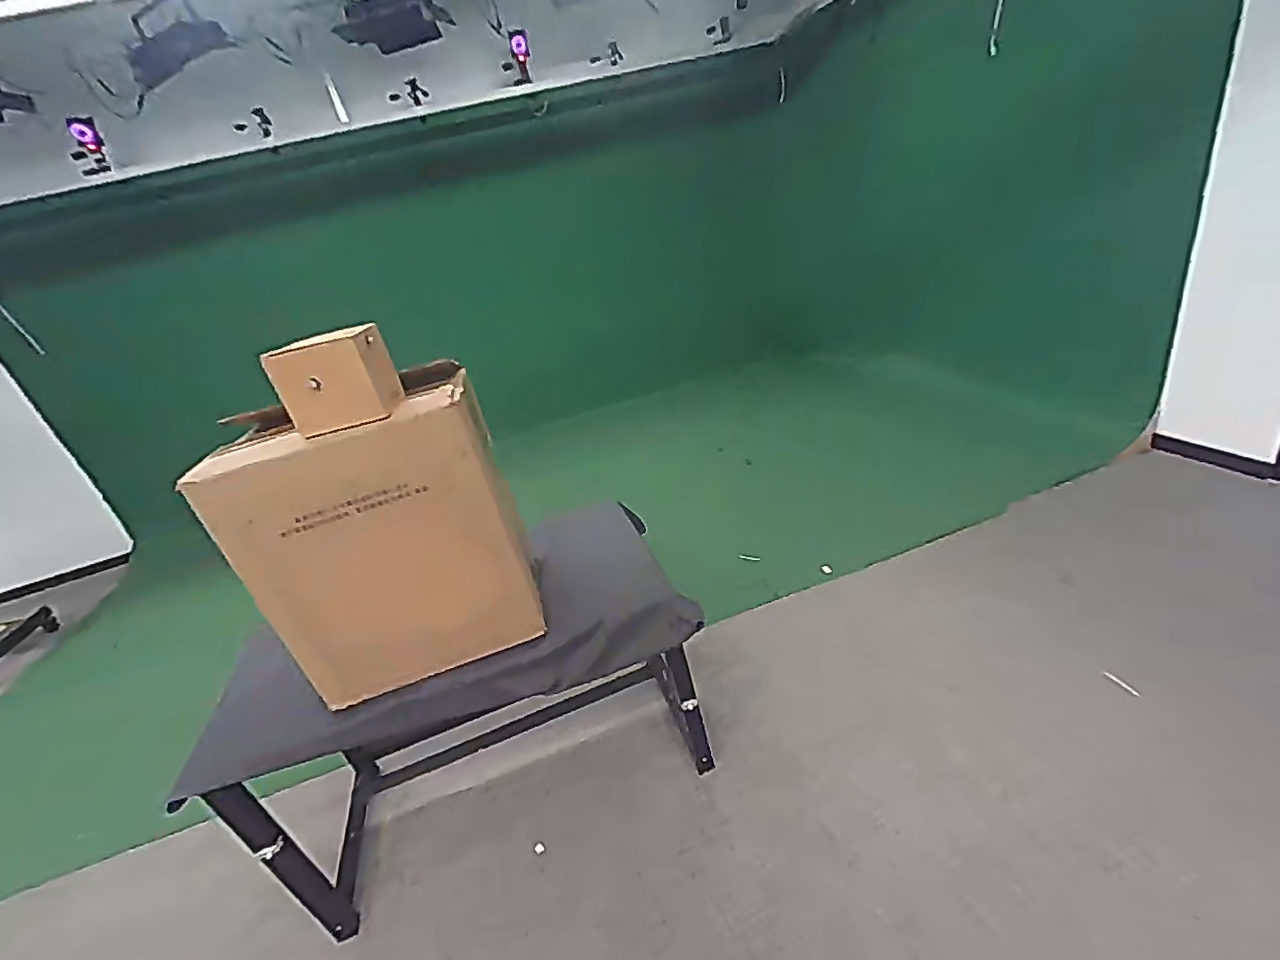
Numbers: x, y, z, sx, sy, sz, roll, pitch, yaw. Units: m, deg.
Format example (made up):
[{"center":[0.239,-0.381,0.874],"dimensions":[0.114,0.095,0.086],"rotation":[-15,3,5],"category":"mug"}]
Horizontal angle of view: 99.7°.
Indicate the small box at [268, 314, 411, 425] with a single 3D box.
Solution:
[{"center":[-0.608,-0.229,1.119],"dimensions":[0.179,0.176,0.168],"rotation":[-15,27,-3],"category":"small box"}]
